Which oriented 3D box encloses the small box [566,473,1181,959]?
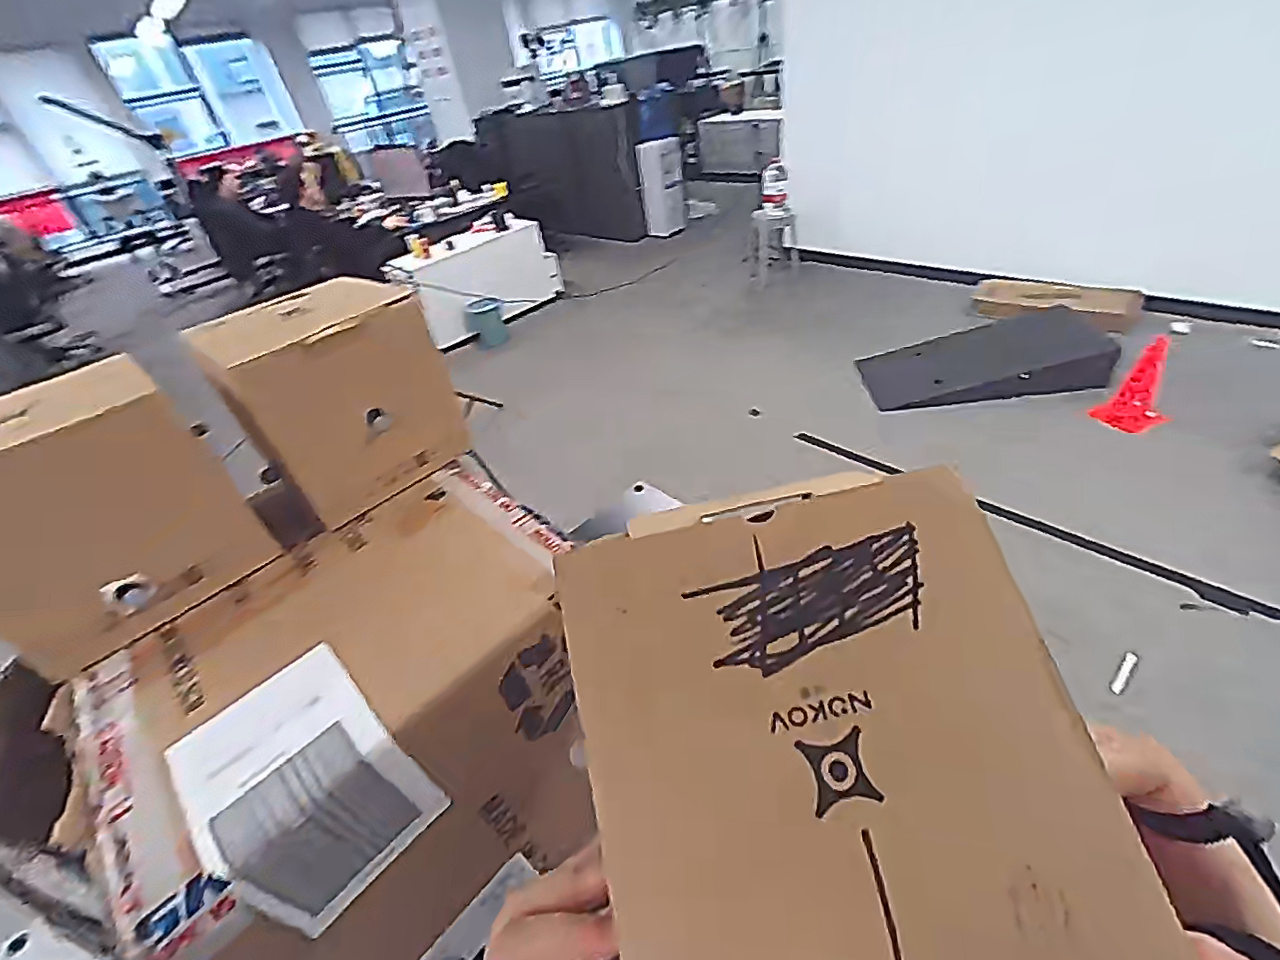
[{"bbox_3d":[0.069,0.122,0.262,0.168,0.176,0.179,-13,66,-1],"label":"small box"}]
